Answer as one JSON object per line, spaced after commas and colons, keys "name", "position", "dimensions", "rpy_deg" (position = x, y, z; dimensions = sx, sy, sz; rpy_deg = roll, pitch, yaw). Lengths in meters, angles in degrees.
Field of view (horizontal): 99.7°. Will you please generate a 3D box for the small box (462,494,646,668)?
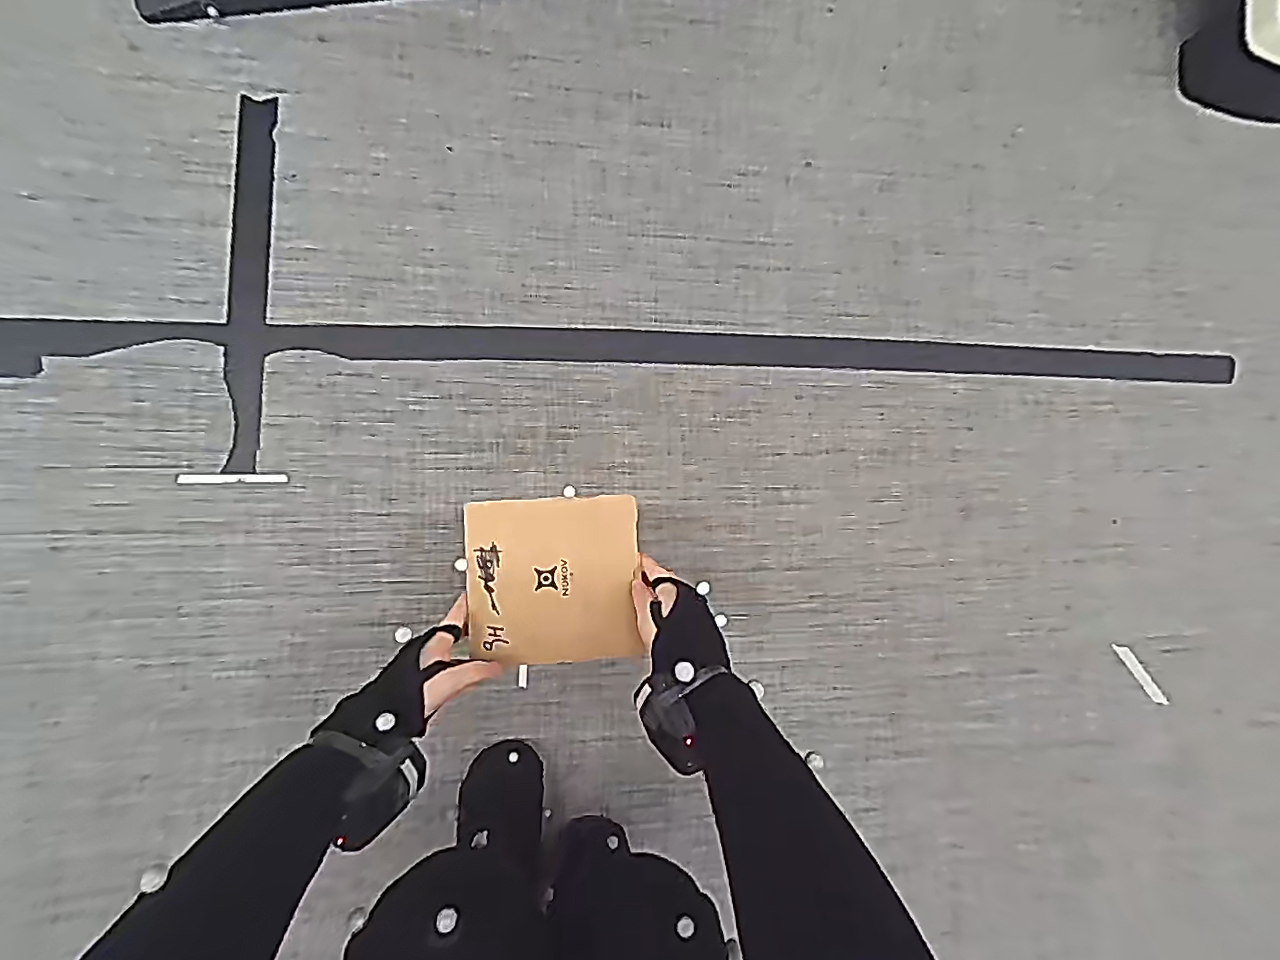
{"name": "small box", "position": [-0.092, 0.099, 0.605], "dimensions": [0.179, 0.176, 0.168], "rpy_deg": [-2, 87, -6]}
